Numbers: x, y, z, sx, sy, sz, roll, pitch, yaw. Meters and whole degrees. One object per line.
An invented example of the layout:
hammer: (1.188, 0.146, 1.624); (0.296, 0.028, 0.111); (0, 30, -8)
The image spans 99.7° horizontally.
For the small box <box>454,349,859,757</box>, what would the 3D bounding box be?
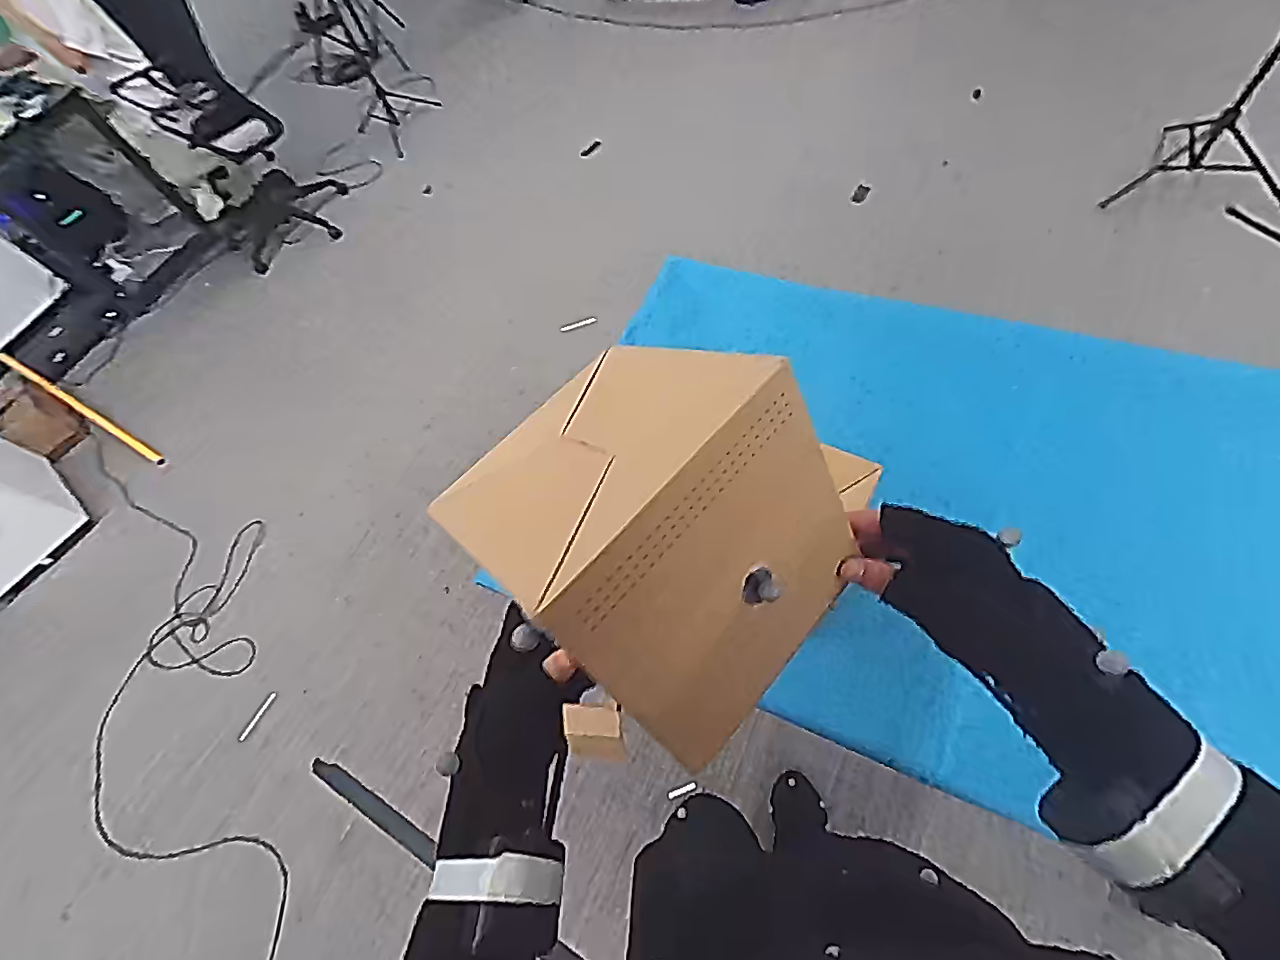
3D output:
small box: (0.010, 0.032, 0.362); (0.179, 0.176, 0.168); (-45, 35, -17)

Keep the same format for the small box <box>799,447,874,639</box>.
small box: (0.166, 0.064, 0.666); (0.168, 0.176, 0.179); (25, 70, 22)
